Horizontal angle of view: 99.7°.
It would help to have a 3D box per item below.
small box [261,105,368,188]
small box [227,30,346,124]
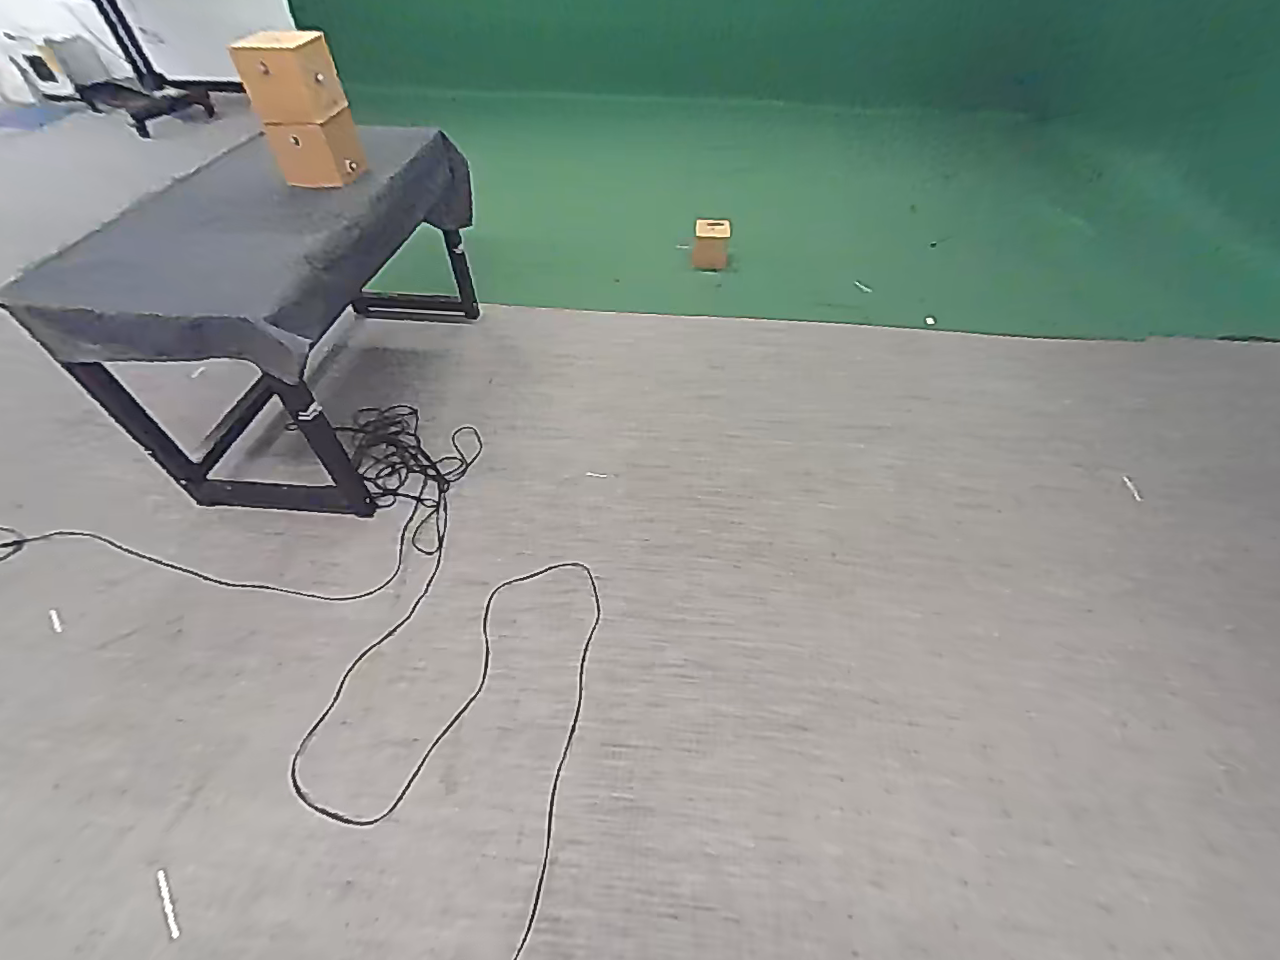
[{"bbox_3d":[-0.932,-0.967,1.567,0.179,0.176,0.168,5,51,4],"label":"small box"},{"bbox_3d":[-0.925,-1.069,1.440,0.179,0.176,0.168,3,51,5],"label":"small box"}]
